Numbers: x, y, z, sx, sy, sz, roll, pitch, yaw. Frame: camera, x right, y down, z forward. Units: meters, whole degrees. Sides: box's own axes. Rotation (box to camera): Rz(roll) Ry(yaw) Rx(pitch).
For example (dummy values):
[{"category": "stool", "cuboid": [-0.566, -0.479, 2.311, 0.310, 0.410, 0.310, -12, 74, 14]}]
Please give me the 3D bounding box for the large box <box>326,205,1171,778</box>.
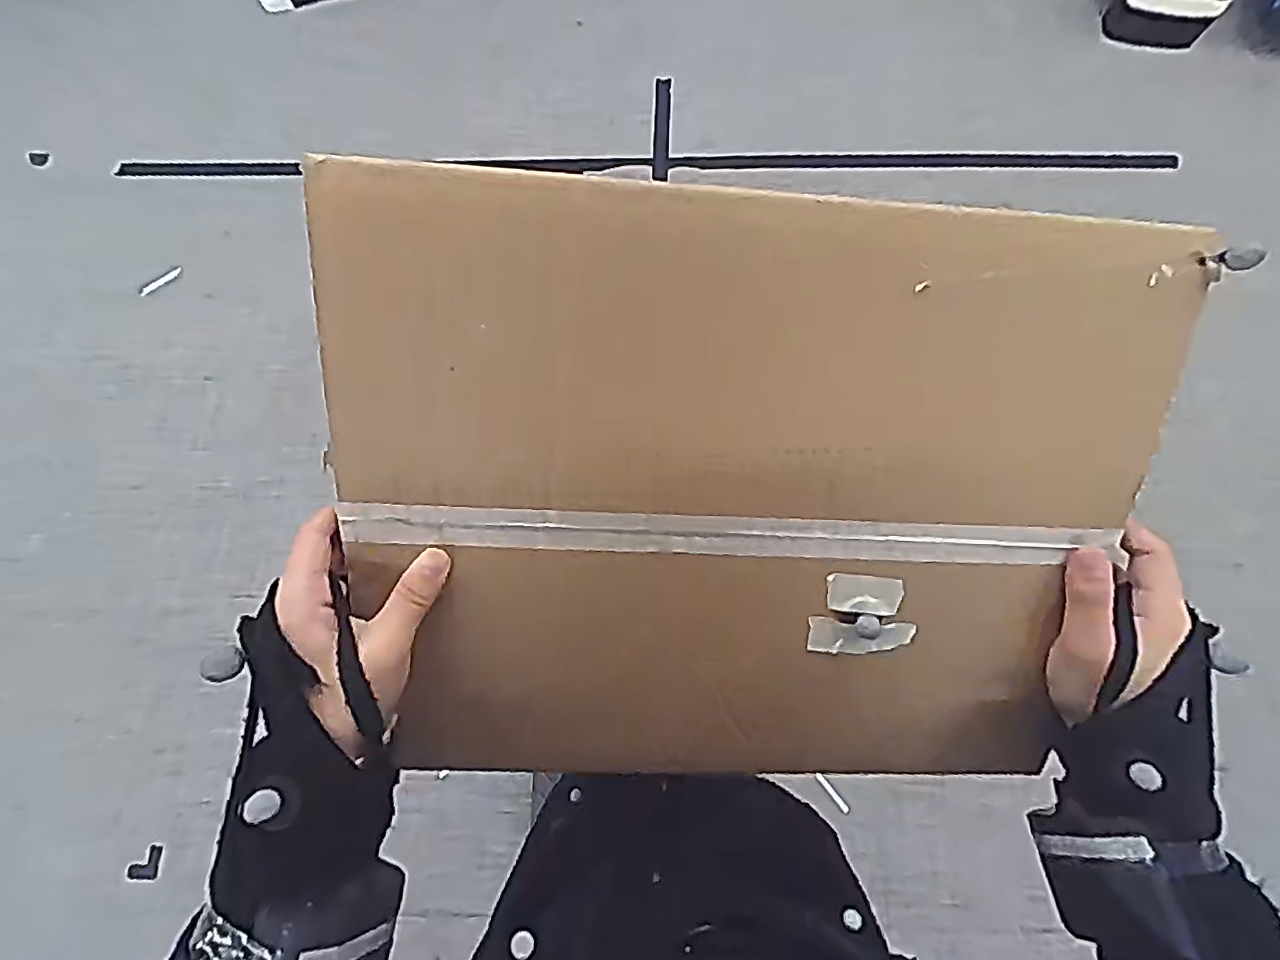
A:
[{"category": "large box", "cuboid": [0.043, -0.011, 0.431, 0.408, 0.320, 0.320, 2, 108, -5]}]
